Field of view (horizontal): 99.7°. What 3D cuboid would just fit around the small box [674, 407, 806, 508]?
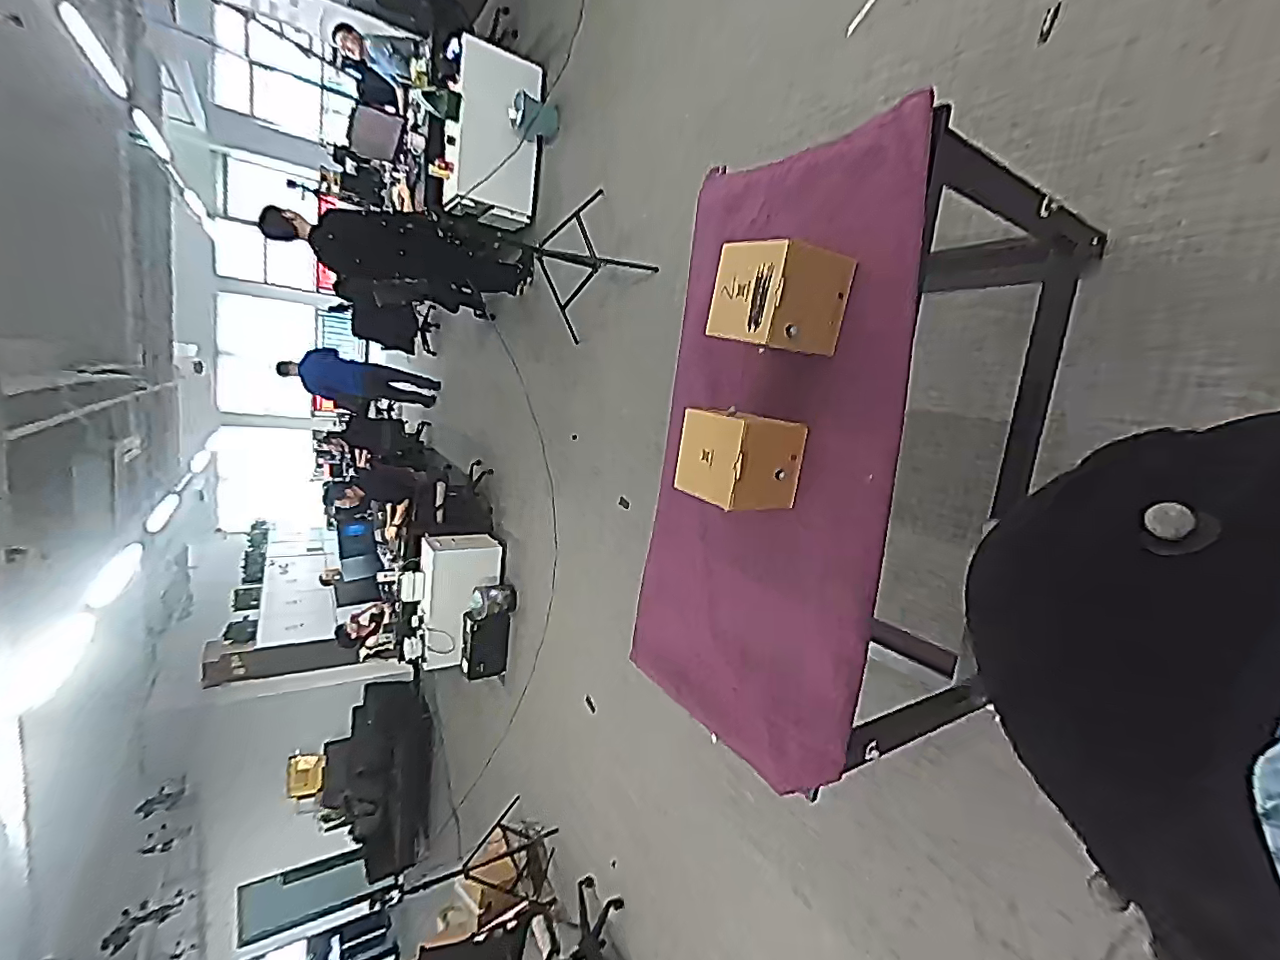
[{"bbox_3d":[0.194,-0.046,1.070,0.179,0.176,0.168,24,110,54],"label":"small box"}]
